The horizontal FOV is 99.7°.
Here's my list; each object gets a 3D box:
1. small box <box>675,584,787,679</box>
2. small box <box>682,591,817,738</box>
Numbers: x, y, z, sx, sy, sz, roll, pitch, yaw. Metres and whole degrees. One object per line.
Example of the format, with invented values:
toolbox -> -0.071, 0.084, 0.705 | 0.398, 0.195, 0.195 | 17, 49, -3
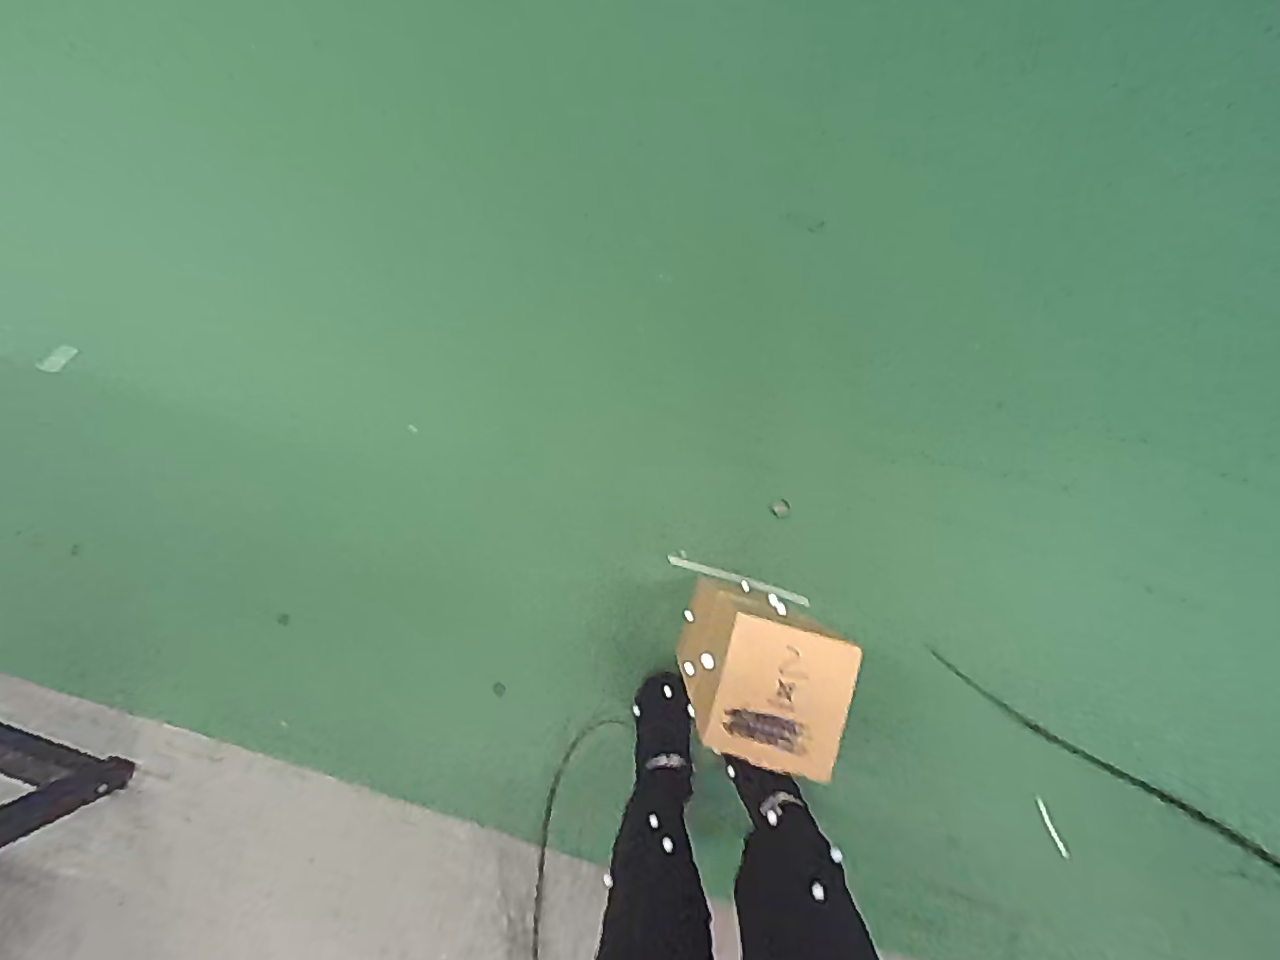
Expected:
small box -> 0.172, 0.317, 1.079 | 0.168, 0.176, 0.179 | 19, 84, 2
small box -> 0.175, 0.299, 0.918 | 0.168, 0.176, 0.179 | 18, 85, 1
